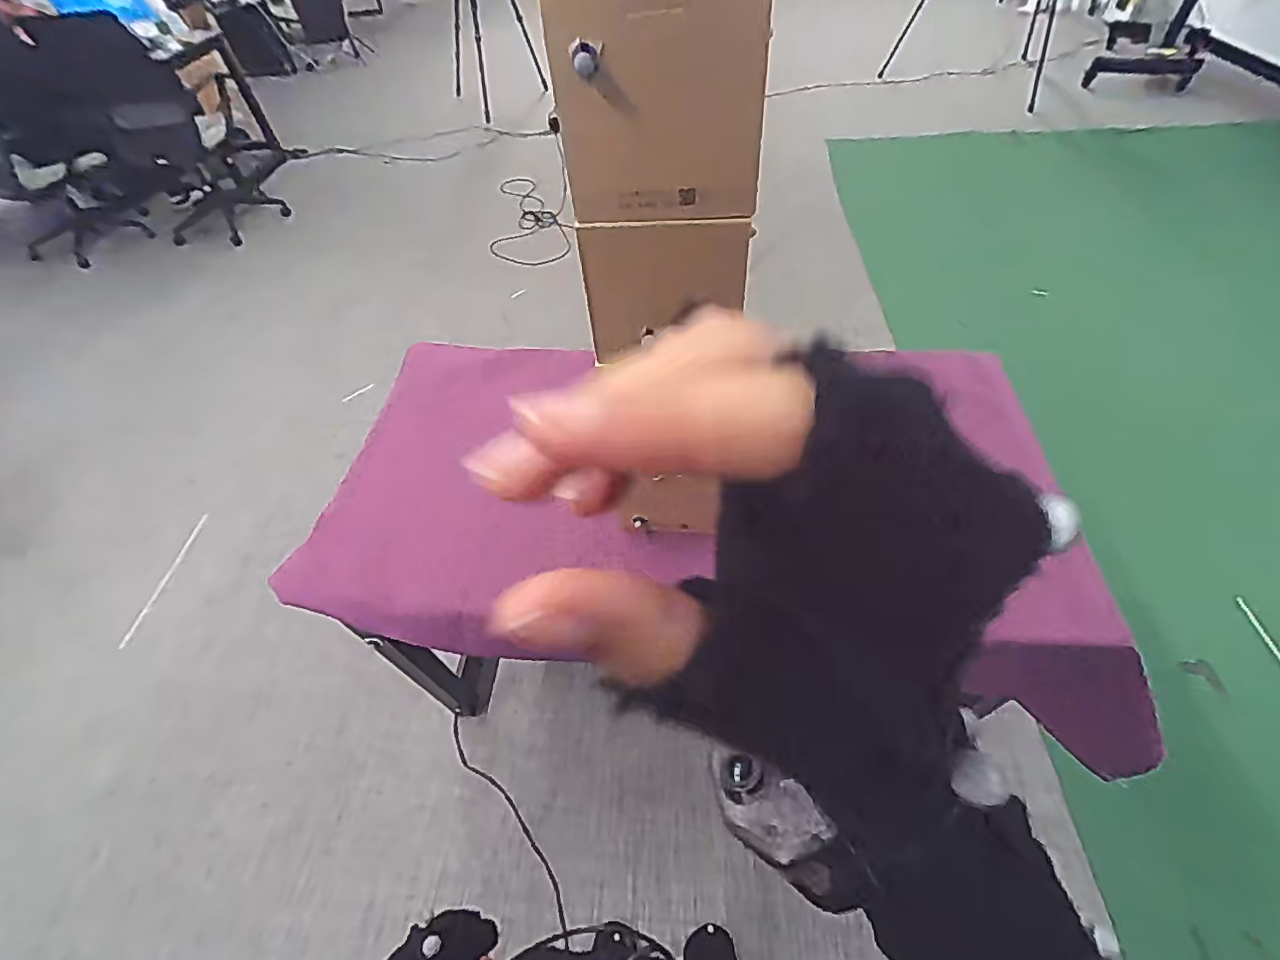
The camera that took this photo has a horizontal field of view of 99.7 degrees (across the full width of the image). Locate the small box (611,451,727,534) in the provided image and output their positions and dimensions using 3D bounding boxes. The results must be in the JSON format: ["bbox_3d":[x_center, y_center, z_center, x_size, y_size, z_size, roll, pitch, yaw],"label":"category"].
[{"bbox_3d":[0.054,-0.029,0.864,0.168,0.176,0.179,3,51,7],"label":"small box"}]

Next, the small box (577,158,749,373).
[{"bbox_3d":[0.033,-0.244,0.619,0.168,0.176,0.179,2,51,7],"label":"small box"}]
